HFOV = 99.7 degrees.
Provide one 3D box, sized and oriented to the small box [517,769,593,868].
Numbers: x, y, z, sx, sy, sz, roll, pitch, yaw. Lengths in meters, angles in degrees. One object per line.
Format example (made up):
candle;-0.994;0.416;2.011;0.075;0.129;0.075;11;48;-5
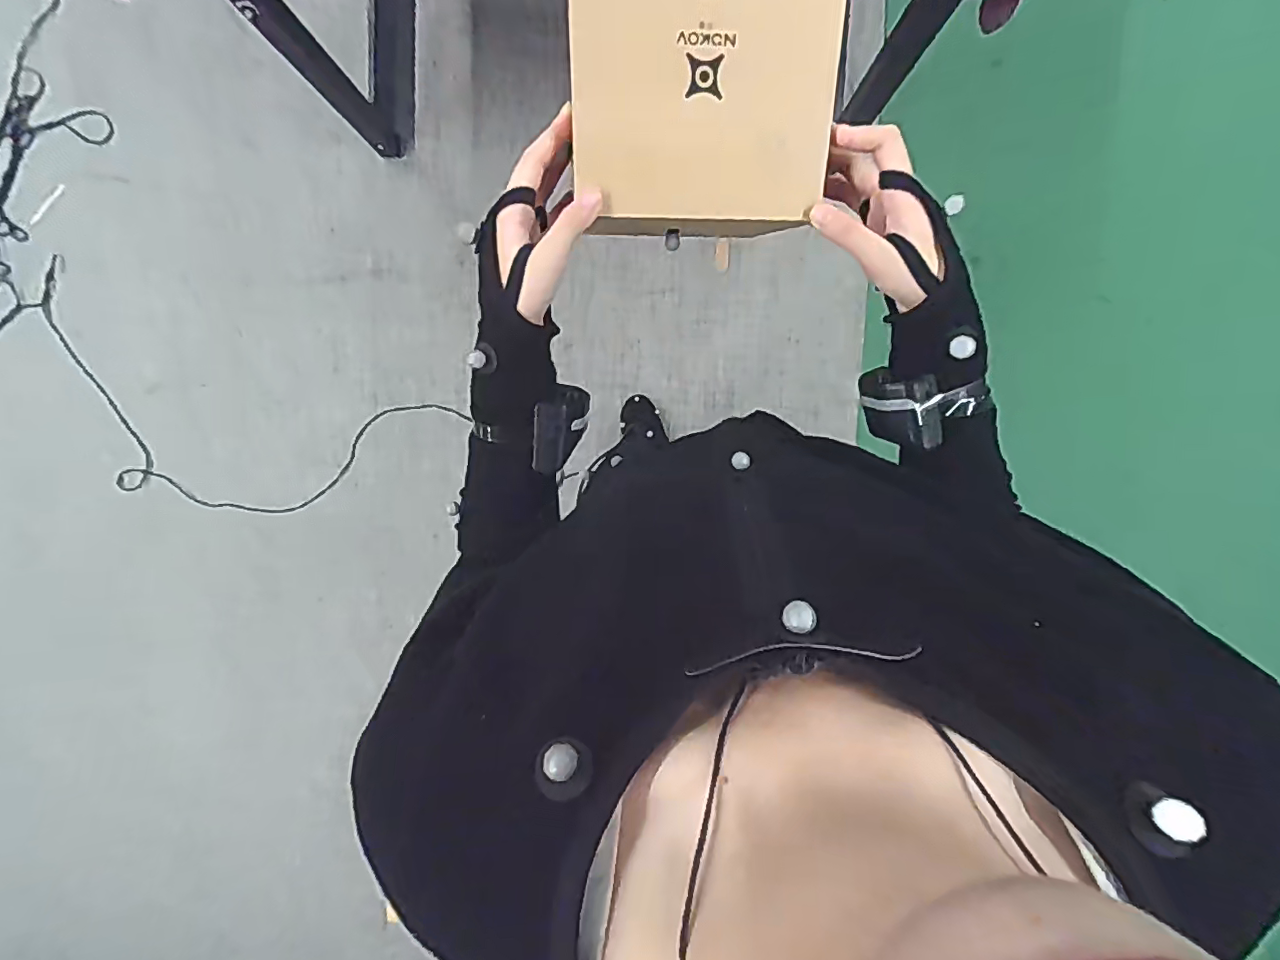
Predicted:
small box;-0.222;0.908;1.464;0.179;0.176;0.168;-3;94;3
